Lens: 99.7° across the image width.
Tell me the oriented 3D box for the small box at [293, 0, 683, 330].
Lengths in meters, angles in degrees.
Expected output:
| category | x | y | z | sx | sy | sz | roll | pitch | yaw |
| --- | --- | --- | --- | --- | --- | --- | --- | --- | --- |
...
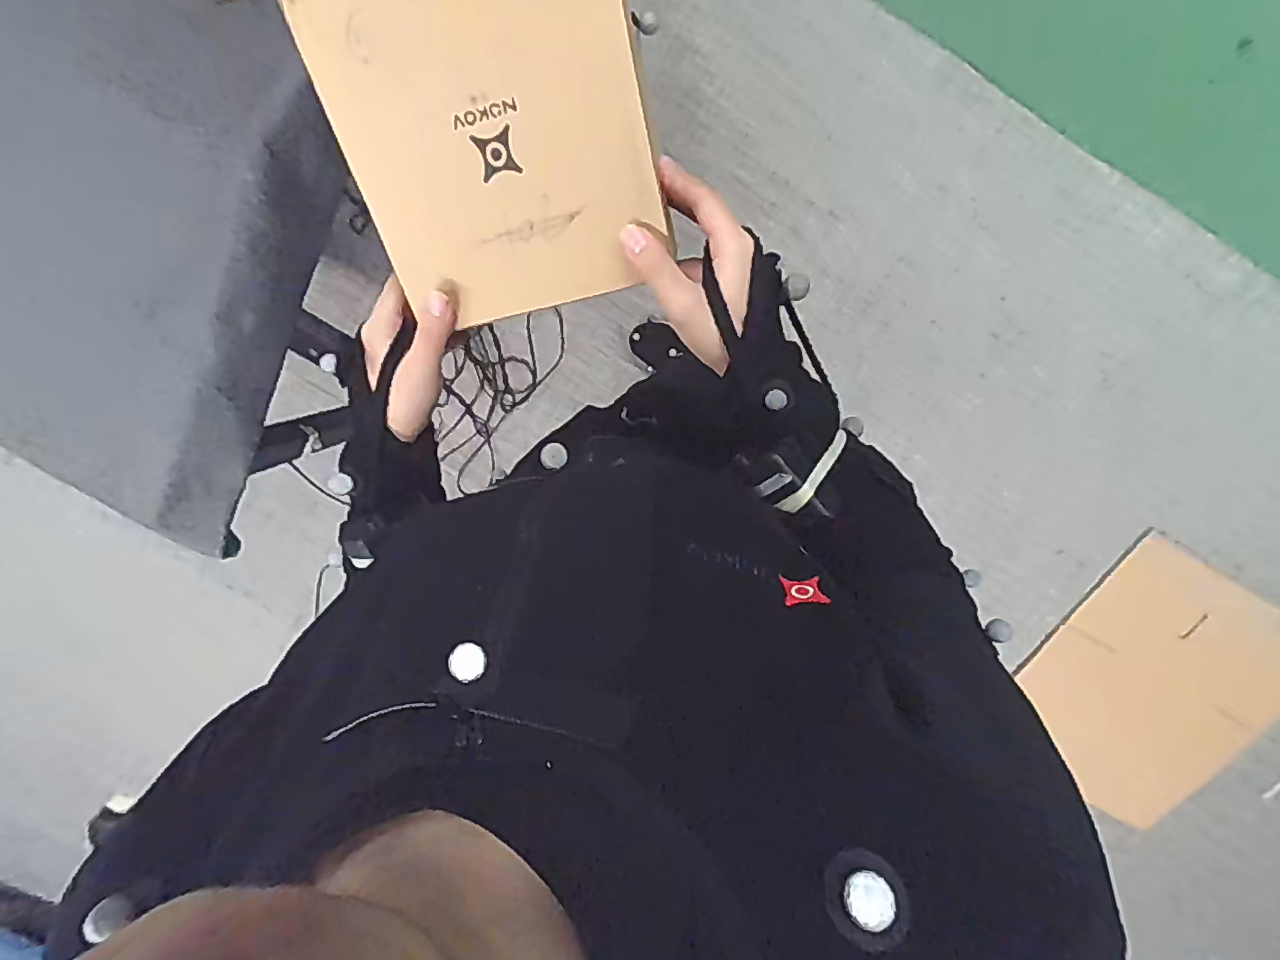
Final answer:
| category | x | y | z | sx | sy | sz | roll | pitch | yaw |
| --- | --- | --- | --- | --- | --- | --- | --- | --- | --- |
| small box | -0.068 | -0.219 | 0.355 | 0.168 | 0.176 | 0.179 | -9 | 119 | 10 |
